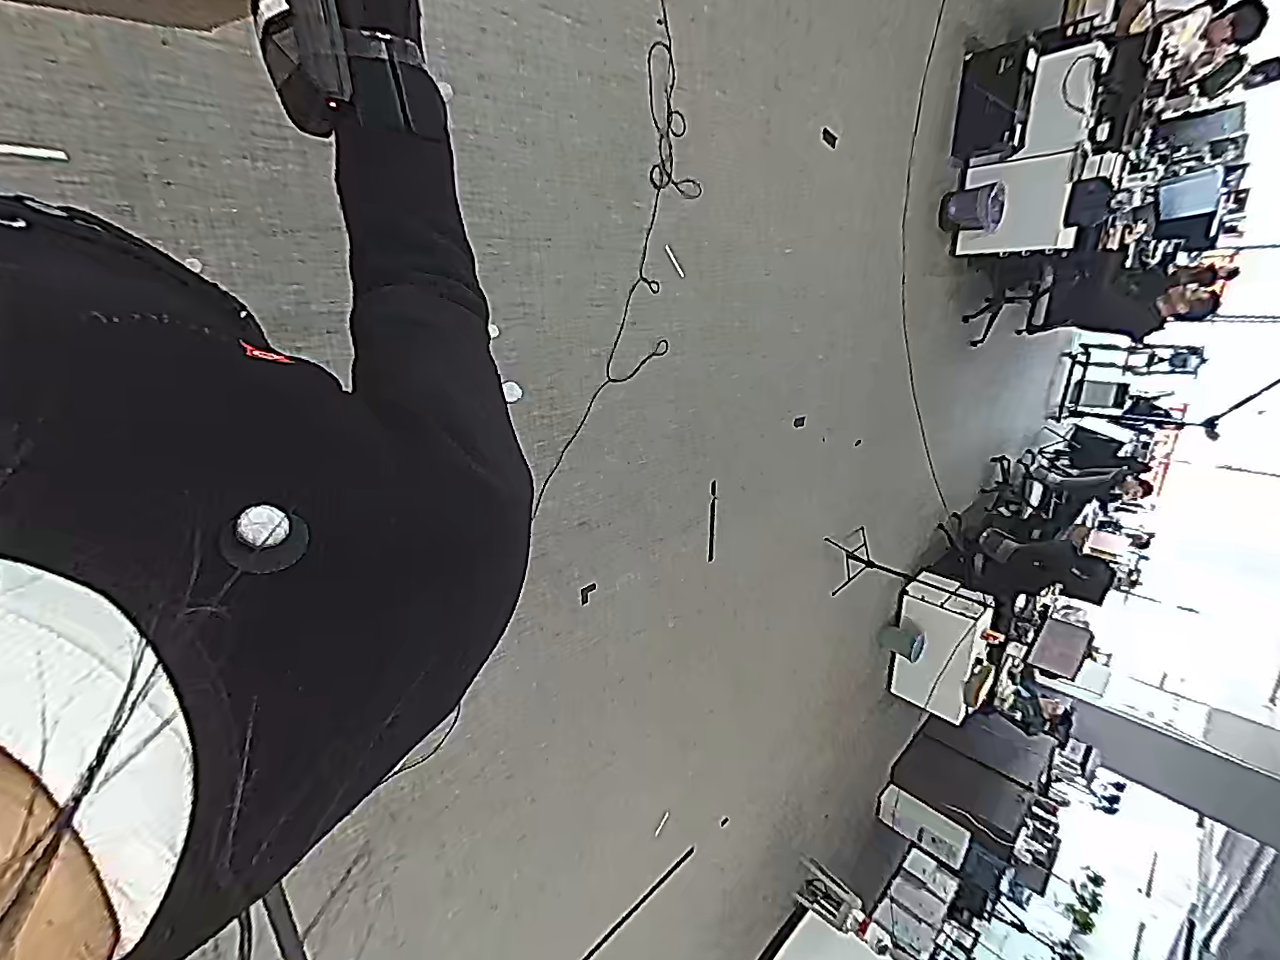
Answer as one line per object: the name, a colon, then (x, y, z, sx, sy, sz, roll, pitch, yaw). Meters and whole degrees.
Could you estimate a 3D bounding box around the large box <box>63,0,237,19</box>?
large box: (-0.450, -0.431, 0.222, 0.408, 0.320, 0.320, -23, 133, -37)
